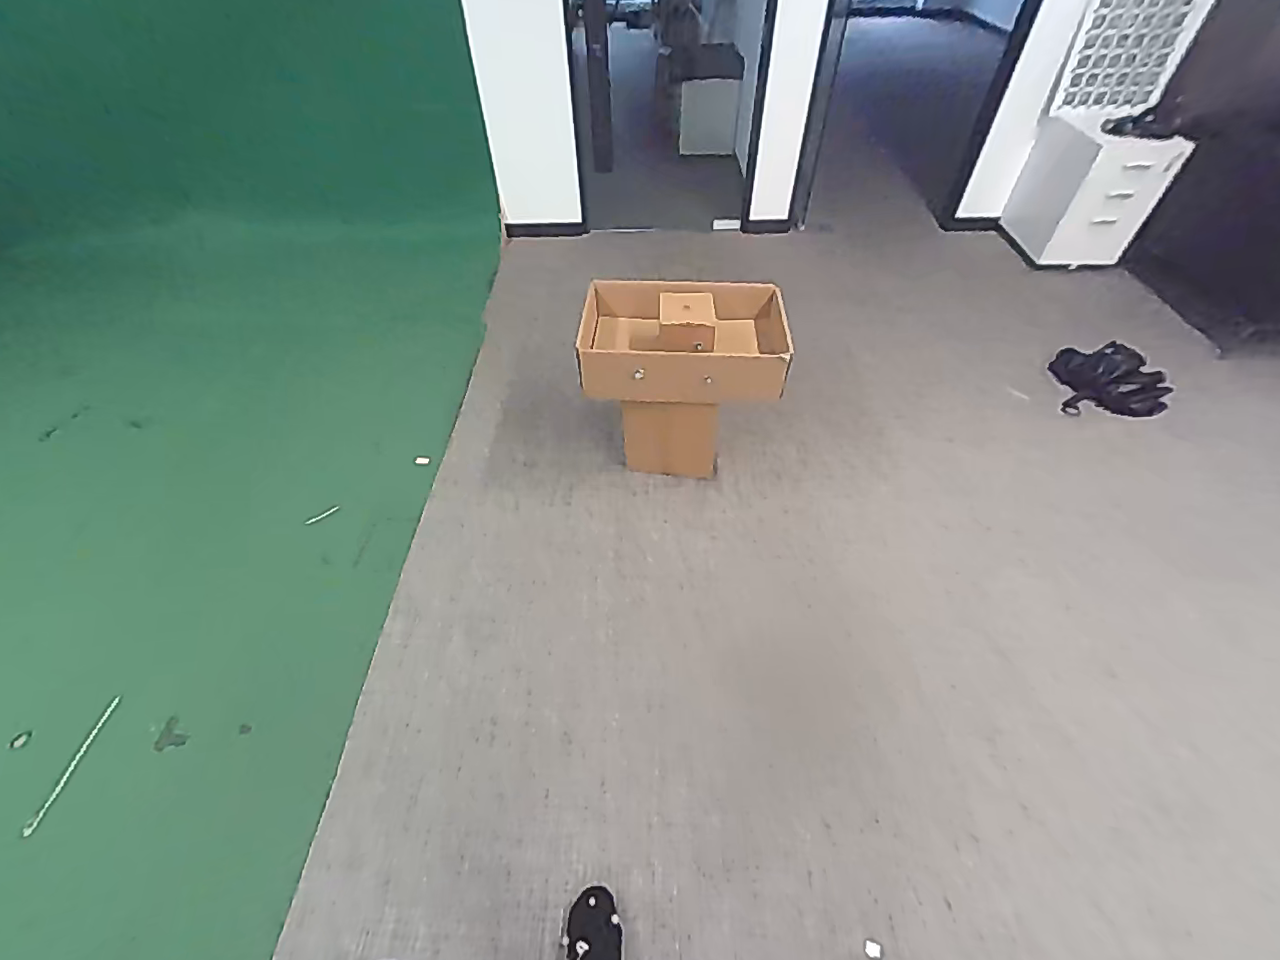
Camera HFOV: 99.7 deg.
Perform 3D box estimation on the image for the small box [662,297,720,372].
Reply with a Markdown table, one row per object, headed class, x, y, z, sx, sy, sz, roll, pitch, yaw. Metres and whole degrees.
| class | x | y | z | sx | sy | sz | roll | pitch | yaw |
| --- | --- | --- | --- | --- | --- | --- | --- | --- | --- |
| small box | 0.156 | -0.451 | 1.684 | 0.168 | 0.176 | 0.179 | 1 | 46 | 0 |
